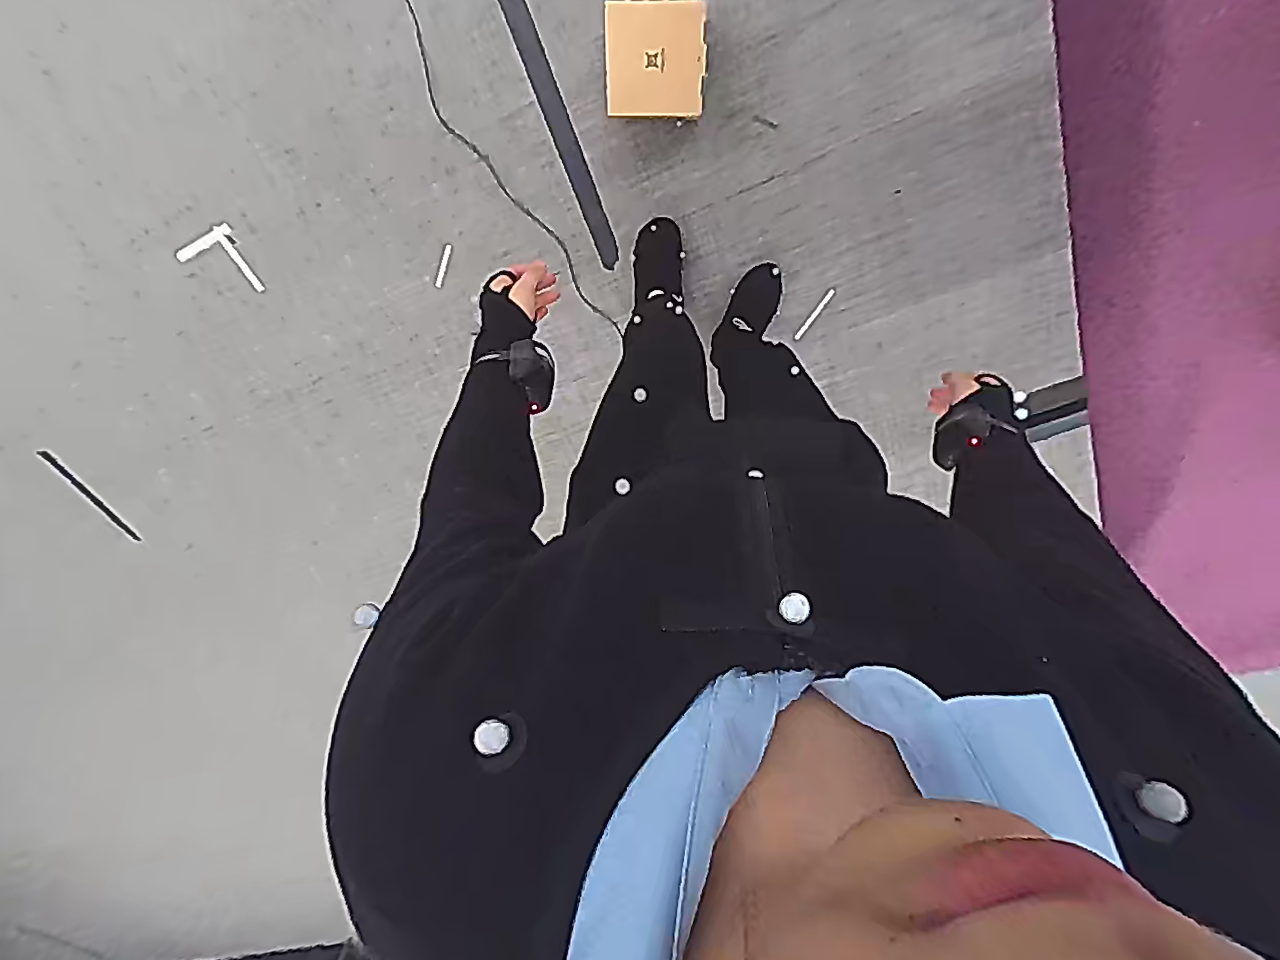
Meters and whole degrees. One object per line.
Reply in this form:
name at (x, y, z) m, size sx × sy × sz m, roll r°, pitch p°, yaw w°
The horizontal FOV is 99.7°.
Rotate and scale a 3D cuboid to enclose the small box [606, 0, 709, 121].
small box at (0.033, -0.780, 1.018) m, size 0.179 × 0.176 × 0.168 m, roll 1°, pitch 122°, yaw 2°
